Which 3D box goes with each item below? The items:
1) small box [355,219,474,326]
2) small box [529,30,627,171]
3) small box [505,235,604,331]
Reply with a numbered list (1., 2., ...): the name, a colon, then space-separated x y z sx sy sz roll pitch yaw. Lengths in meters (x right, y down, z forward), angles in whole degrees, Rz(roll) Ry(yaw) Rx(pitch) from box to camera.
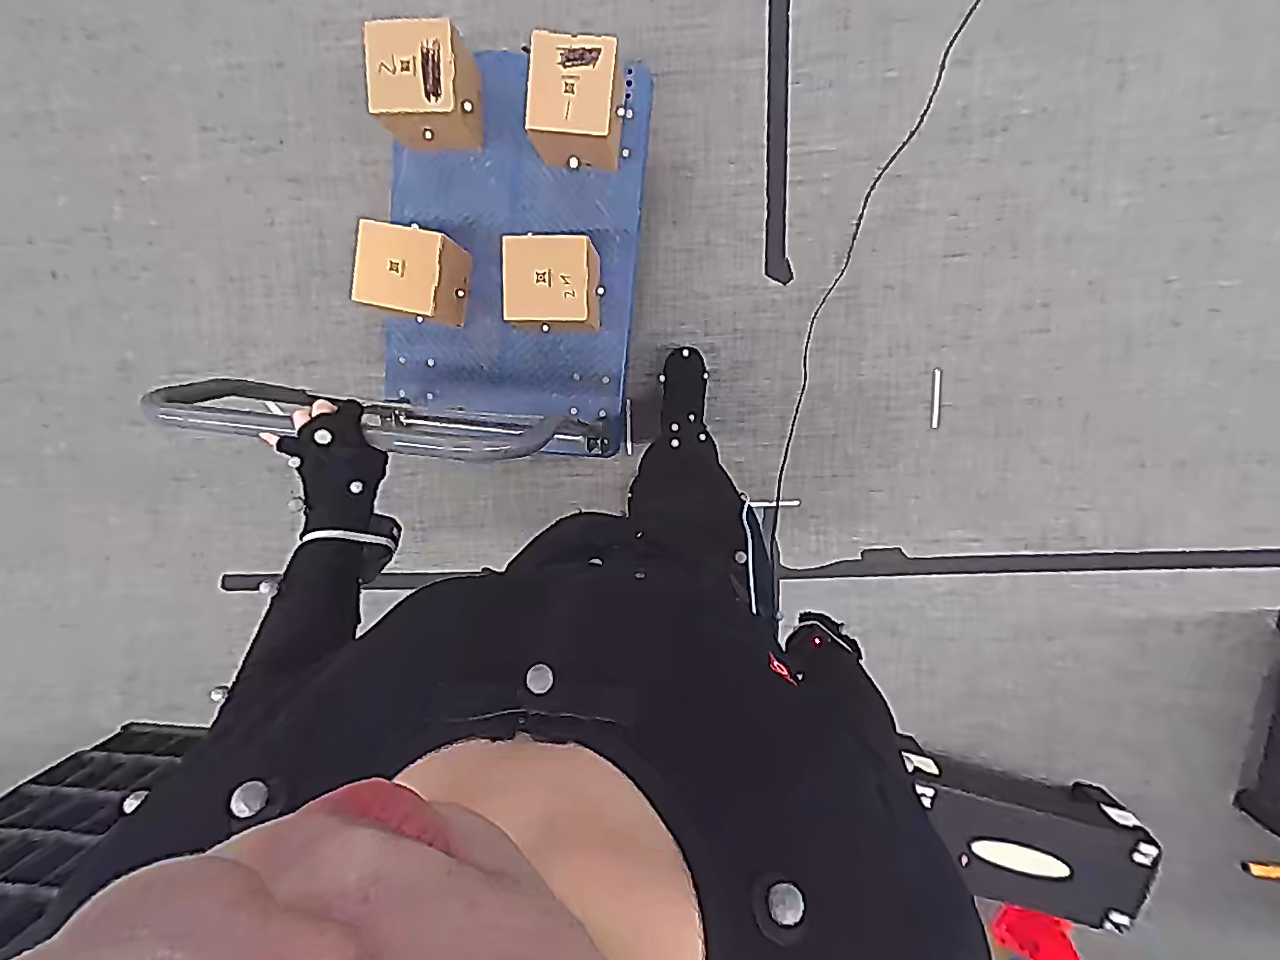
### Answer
1. small box: -0.485 -0.443 1.181 0.179 0.176 0.168 11 98 0
2. small box: -0.121 -0.767 1.109 0.168 0.176 0.179 7 99 3
3. small box: -0.178 -0.415 1.162 0.179 0.176 0.168 2 98 4
